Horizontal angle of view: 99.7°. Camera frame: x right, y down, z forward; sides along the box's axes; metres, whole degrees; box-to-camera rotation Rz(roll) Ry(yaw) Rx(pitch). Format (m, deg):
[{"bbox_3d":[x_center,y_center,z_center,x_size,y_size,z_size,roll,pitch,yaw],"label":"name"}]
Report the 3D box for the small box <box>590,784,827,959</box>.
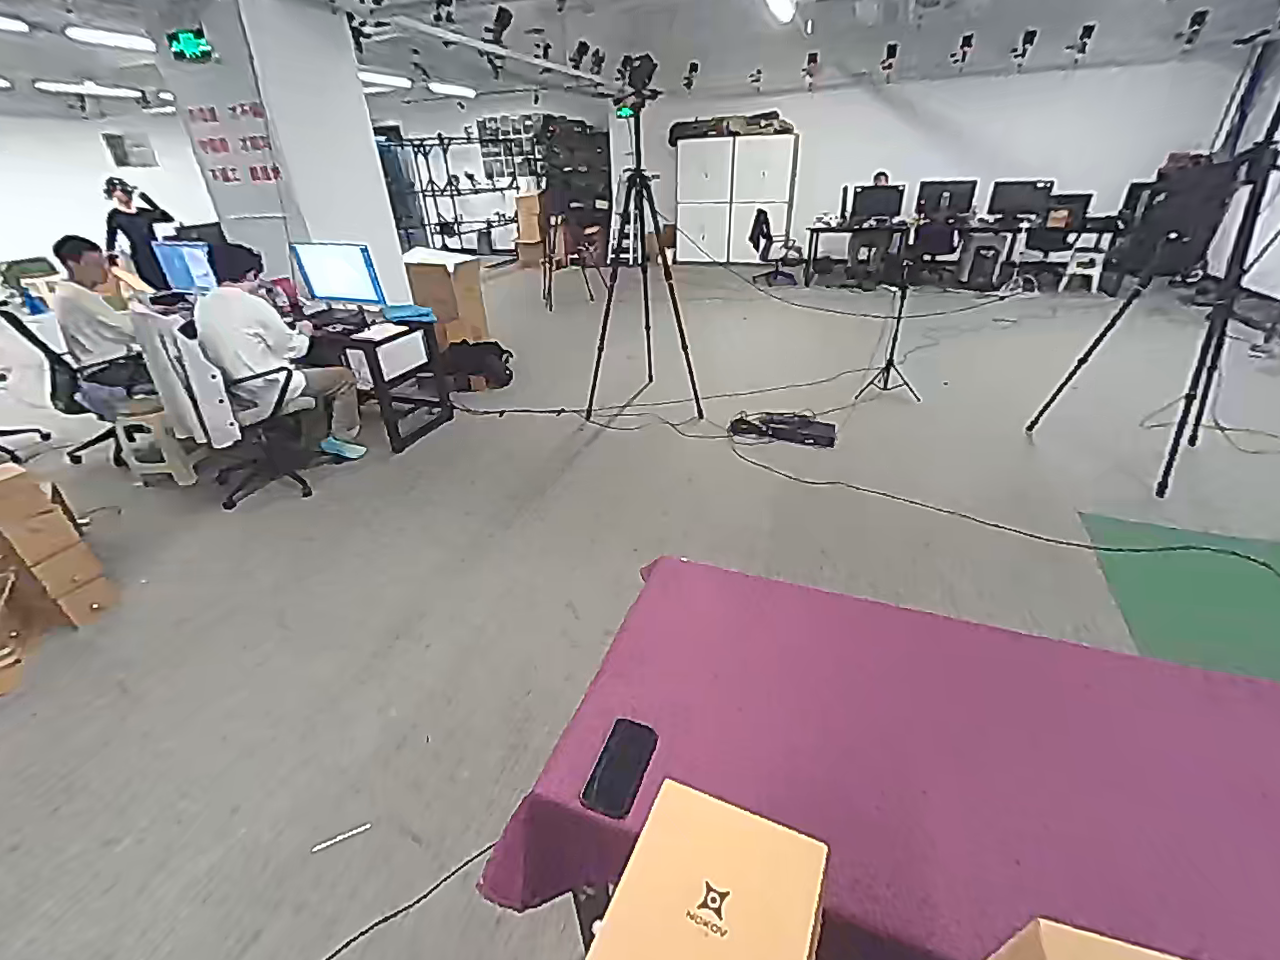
[{"bbox_3d":[0.073,0.442,0.513,0.168,0.176,0.179,9,36,26],"label":"small box"}]
